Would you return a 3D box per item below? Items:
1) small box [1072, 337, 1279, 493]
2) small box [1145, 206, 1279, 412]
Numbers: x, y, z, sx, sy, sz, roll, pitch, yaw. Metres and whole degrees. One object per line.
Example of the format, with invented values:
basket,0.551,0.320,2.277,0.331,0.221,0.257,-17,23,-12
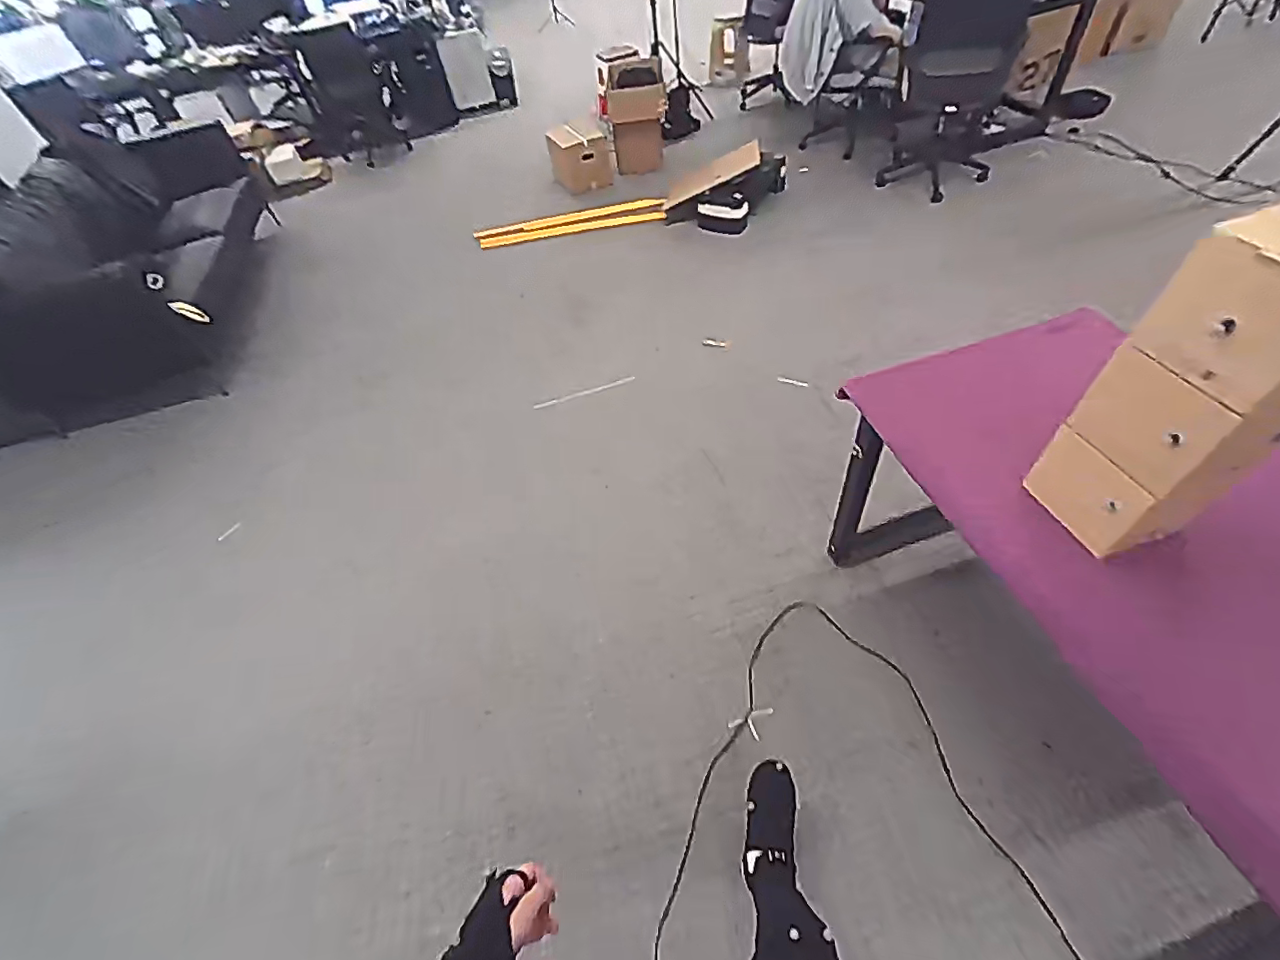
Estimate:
small box,0.786,-0.101,0.771,0.168,0.176,0.179,-17,50,-6
small box,0.772,-0.207,0.647,0.179,0.176,0.168,-18,51,-6
